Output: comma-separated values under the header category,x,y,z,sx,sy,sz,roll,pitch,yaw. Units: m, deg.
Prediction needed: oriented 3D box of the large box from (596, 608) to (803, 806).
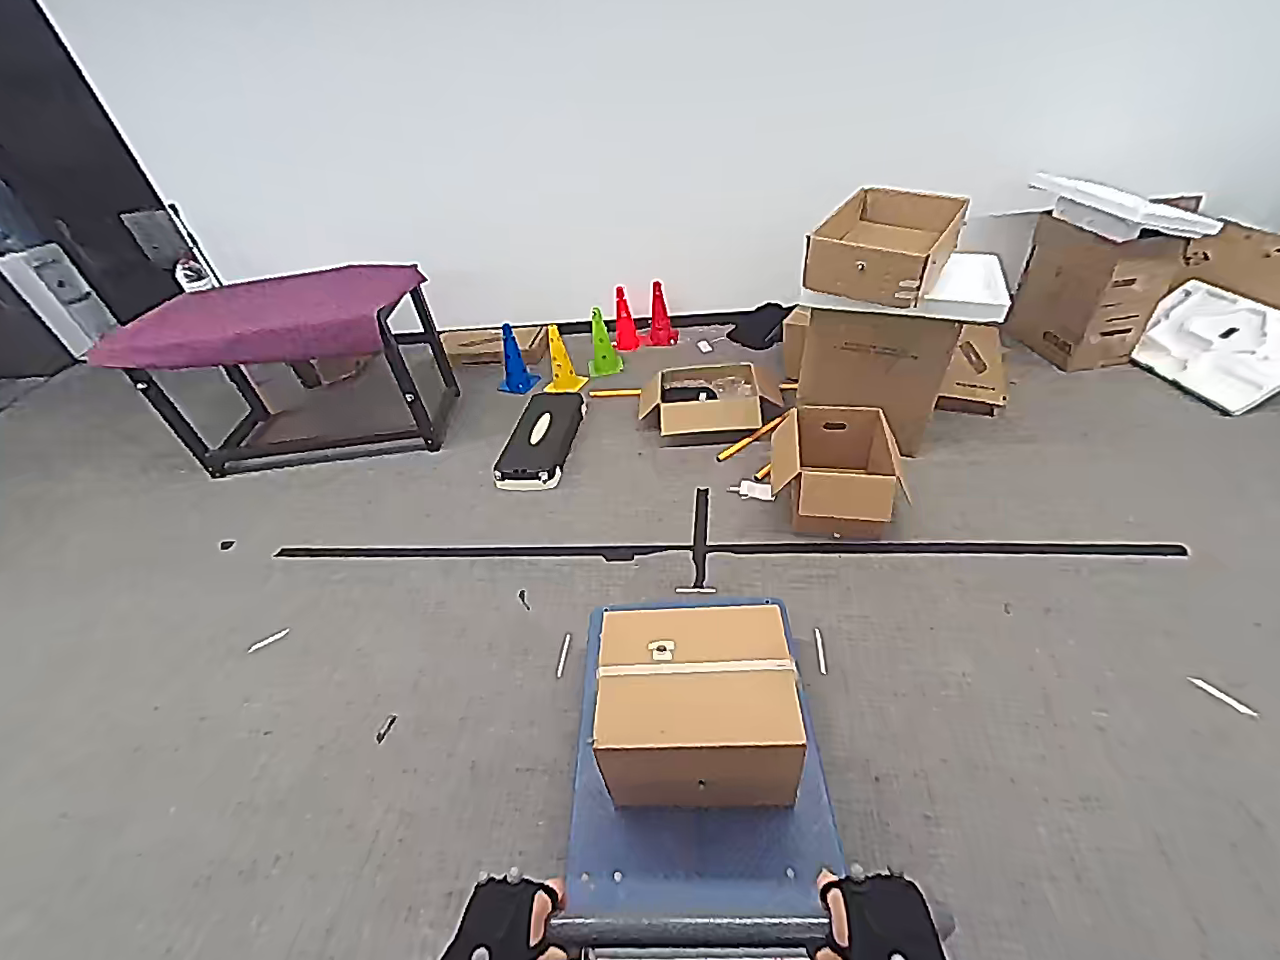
category,x,y,z,sx,sy,sz,roll,pitch,yaw
large box,0.131,0.522,1.239,0.408,0.320,0.320,-5,40,5
